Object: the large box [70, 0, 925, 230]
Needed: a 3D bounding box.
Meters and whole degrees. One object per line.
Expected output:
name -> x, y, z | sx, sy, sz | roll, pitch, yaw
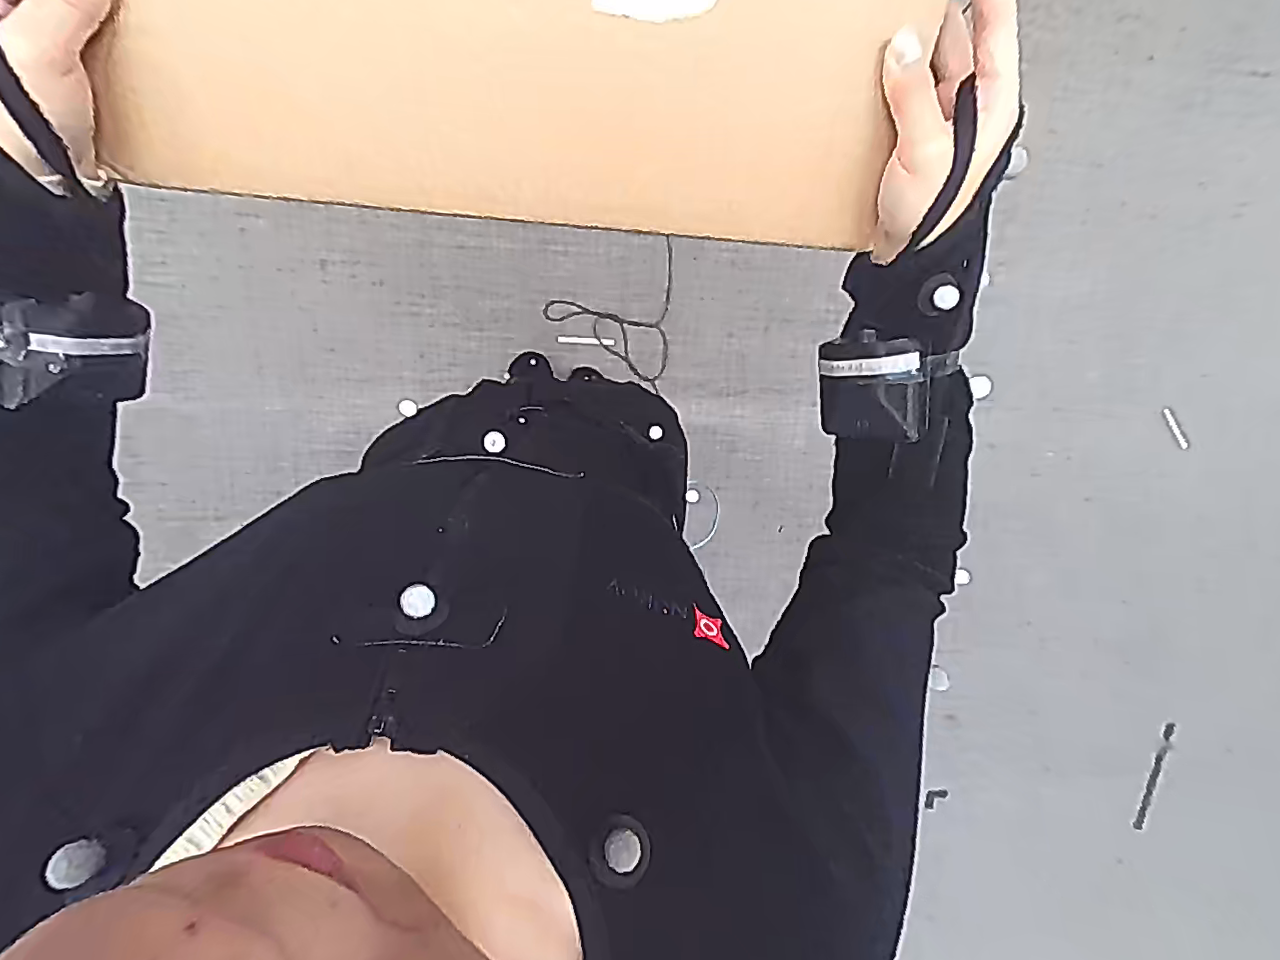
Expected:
large box -> -0.064, -0.358, 0.349 | 0.408, 0.320, 0.320 | 3, 121, -6
